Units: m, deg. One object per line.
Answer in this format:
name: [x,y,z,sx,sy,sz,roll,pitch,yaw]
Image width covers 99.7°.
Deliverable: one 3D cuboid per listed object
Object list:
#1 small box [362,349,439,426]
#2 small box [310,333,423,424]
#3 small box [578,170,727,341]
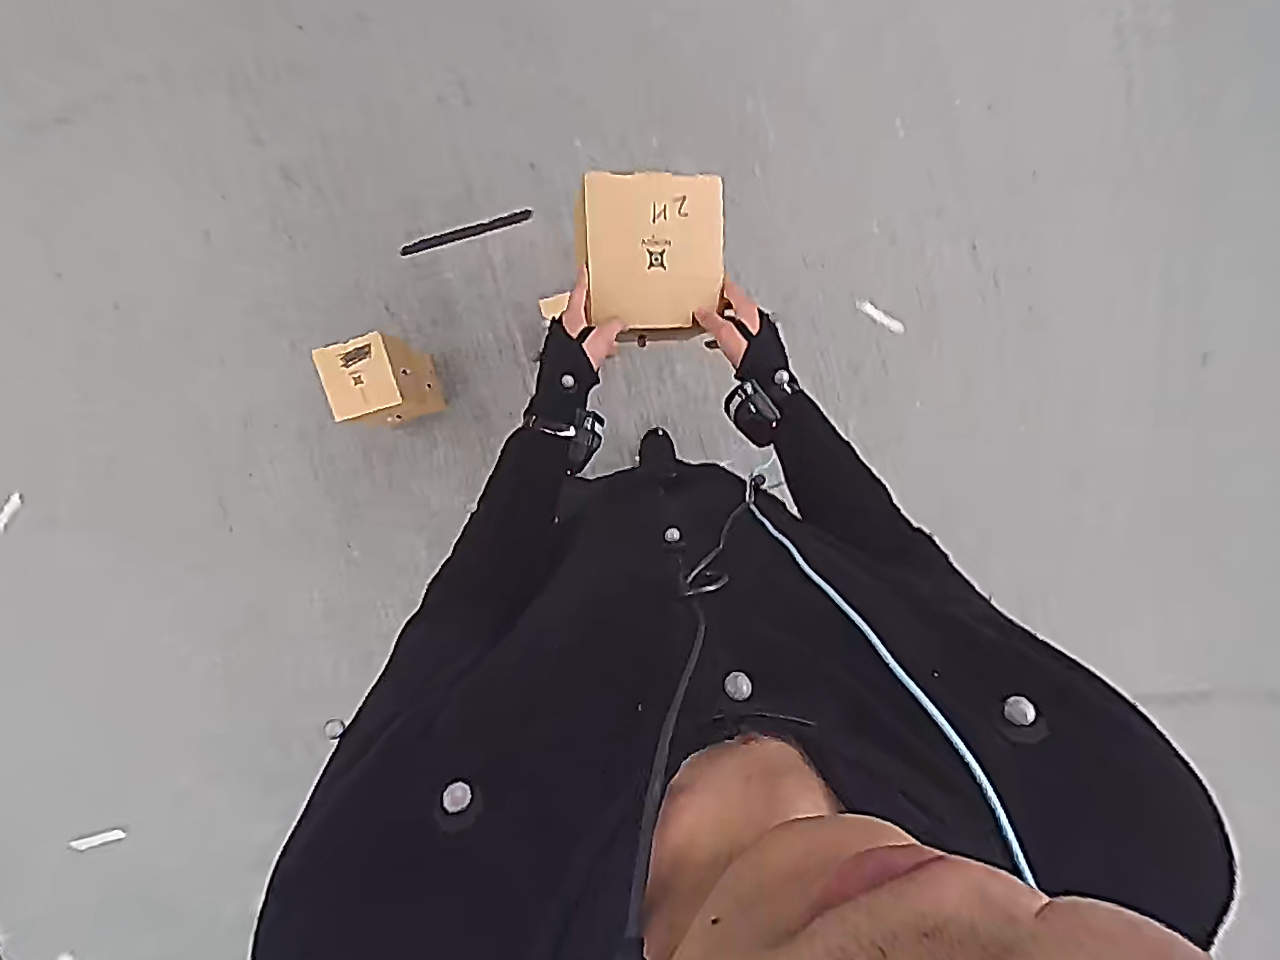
small box: [-0.675,-0.252,1.494,0.179,0.176,0.168,-17,96,0]
small box: [-0.664,-0.242,1.330,0.168,0.176,0.179,-17,97,0]
small box: [0.008,-0.279,0.711,0.168,0.176,0.179,-3,99,-11]
